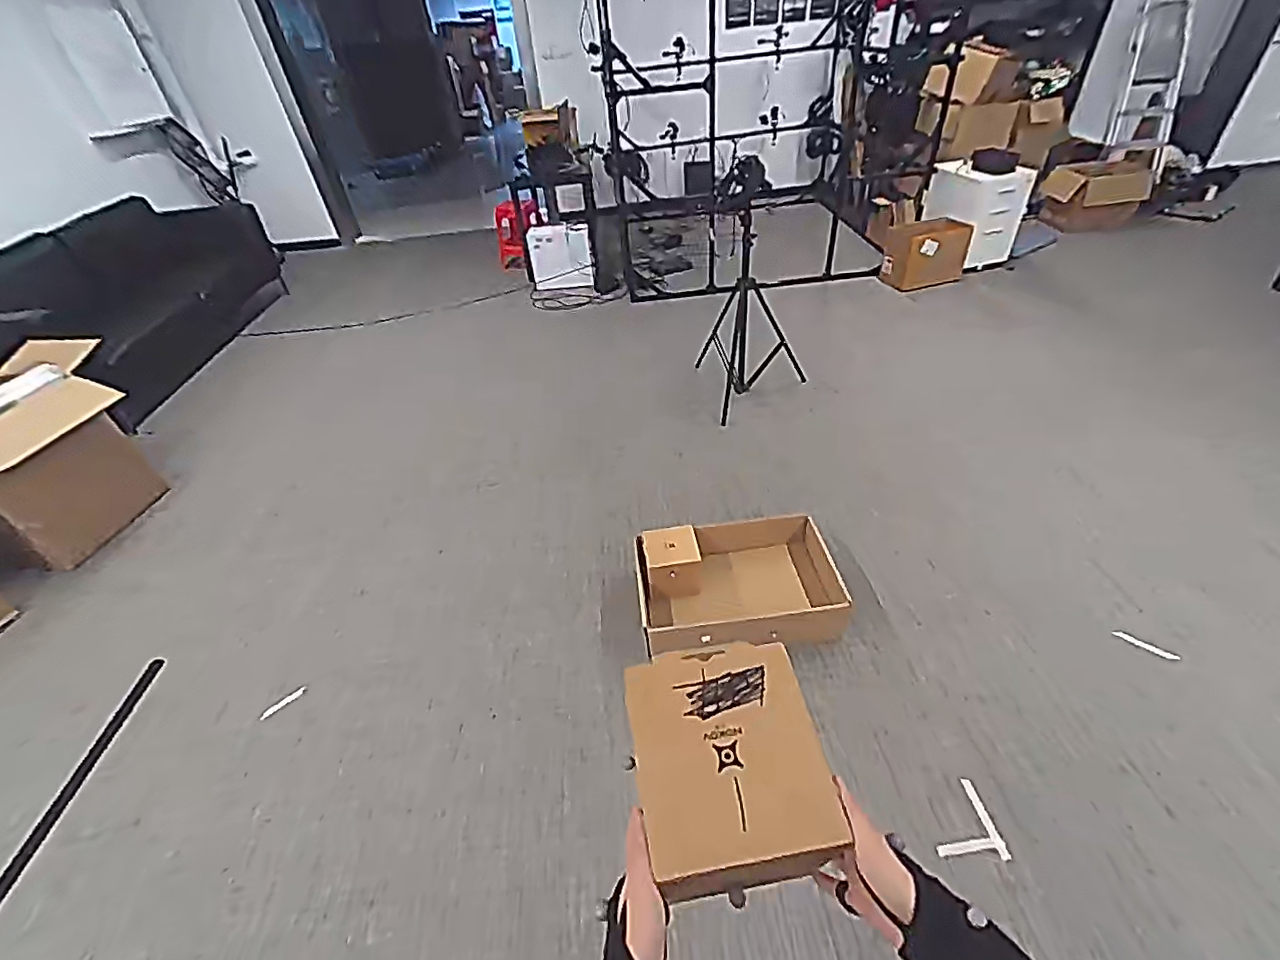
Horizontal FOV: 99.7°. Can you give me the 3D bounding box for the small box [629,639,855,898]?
[{"bbox_3d":[0.081,0.287,0.539,0.168,0.176,0.179,-8,47,-5],"label":"small box"}]
